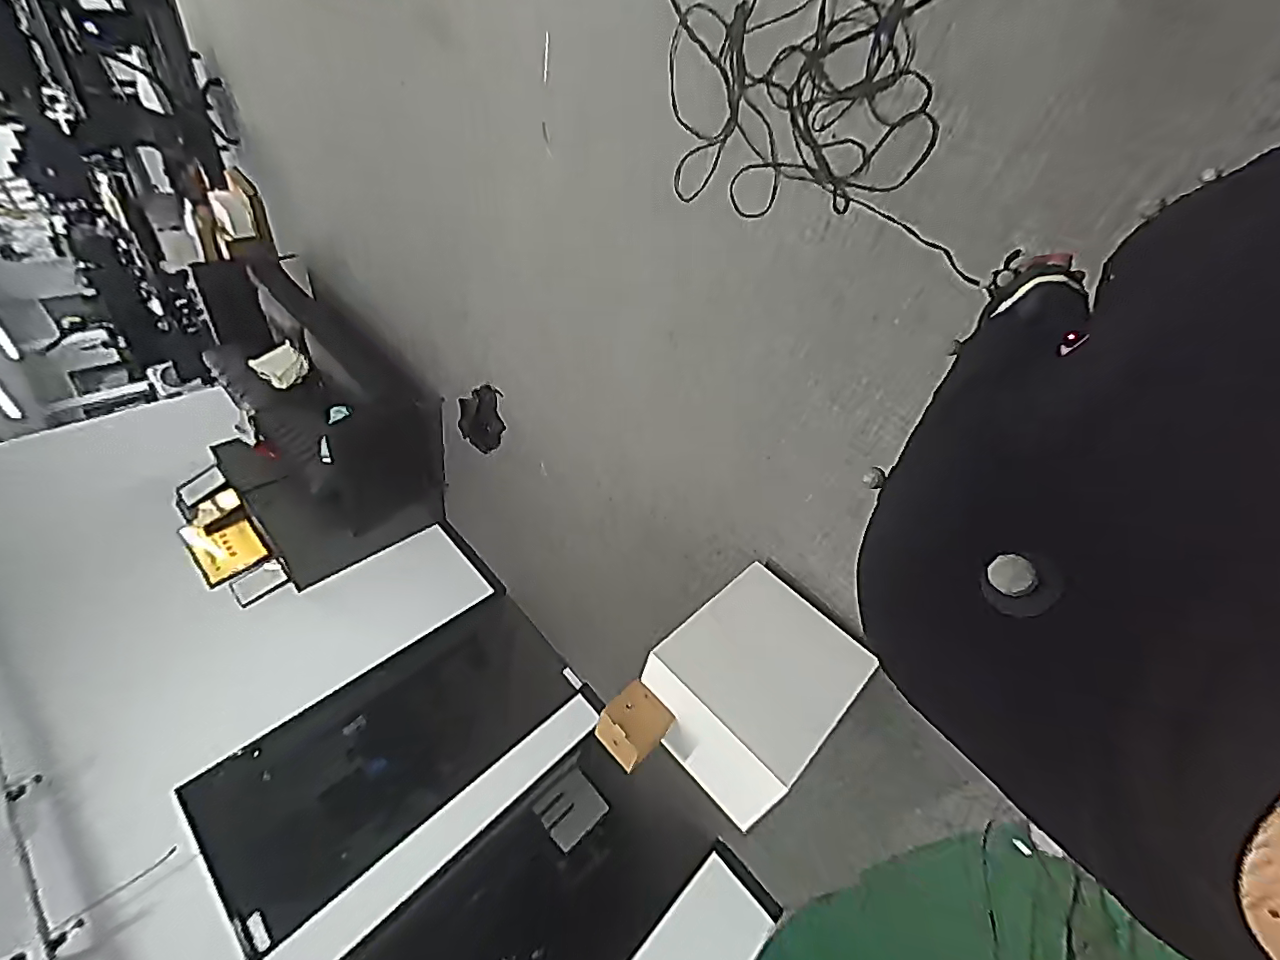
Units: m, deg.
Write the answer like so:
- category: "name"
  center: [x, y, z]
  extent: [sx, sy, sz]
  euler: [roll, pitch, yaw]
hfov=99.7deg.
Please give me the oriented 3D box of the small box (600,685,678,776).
- category: "small box"
  center: [-0.002, 0.784, 1.705]
  extent: [0.168, 0.176, 0.179]
  euler: [39, 139, 26]
